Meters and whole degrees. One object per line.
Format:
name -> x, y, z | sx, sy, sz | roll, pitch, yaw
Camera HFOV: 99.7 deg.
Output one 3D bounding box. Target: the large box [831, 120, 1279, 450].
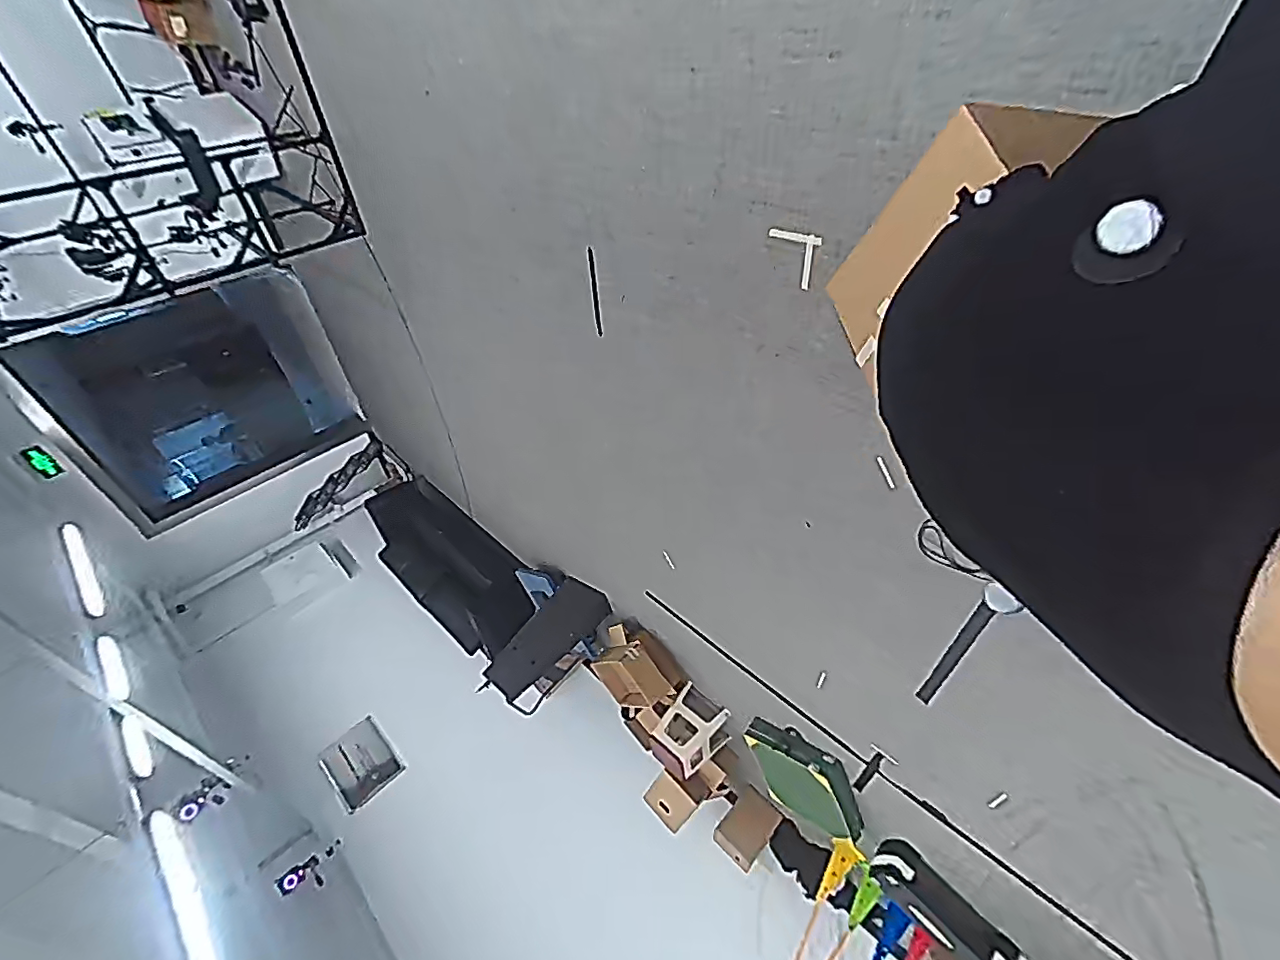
large box -> 0.573, -0.263, 0.793 | 0.320, 0.408, 0.320 | 123, 136, -62
